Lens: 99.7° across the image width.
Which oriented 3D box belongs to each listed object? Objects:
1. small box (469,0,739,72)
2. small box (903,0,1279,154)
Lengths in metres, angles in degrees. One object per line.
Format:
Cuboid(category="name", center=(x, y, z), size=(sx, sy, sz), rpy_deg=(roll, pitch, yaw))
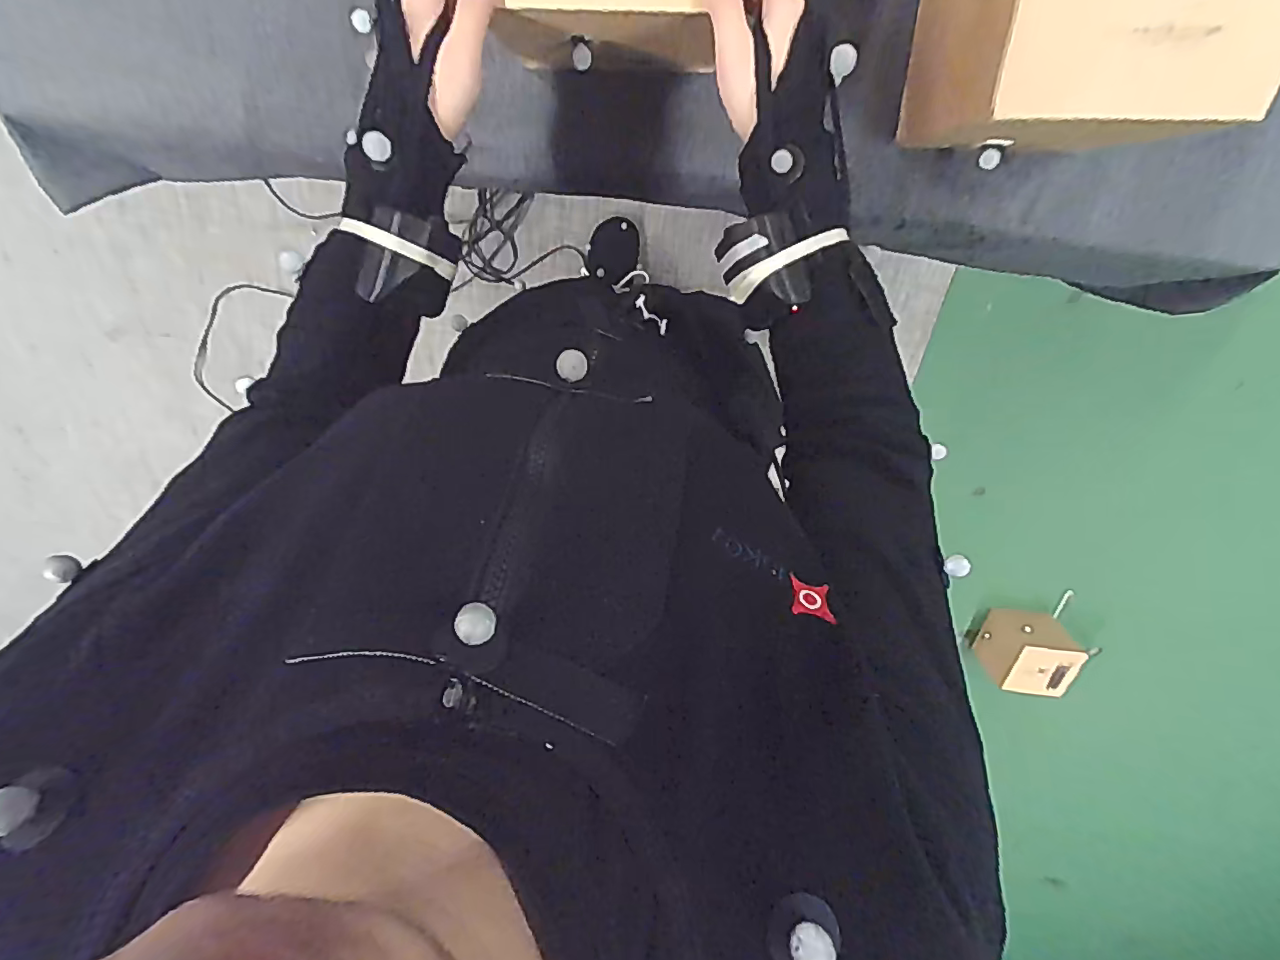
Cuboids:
Cuboid(category="small box", center=(-0.016, -0.389, 0.353), size=(0.168, 0.176, 0.179), rpy_deg=(2, 116, 1))
Cuboid(category="small box", center=(0.306, -0.335, 0.370), size=(0.168, 0.176, 0.179), rpy_deg=(1, 116, 3))
